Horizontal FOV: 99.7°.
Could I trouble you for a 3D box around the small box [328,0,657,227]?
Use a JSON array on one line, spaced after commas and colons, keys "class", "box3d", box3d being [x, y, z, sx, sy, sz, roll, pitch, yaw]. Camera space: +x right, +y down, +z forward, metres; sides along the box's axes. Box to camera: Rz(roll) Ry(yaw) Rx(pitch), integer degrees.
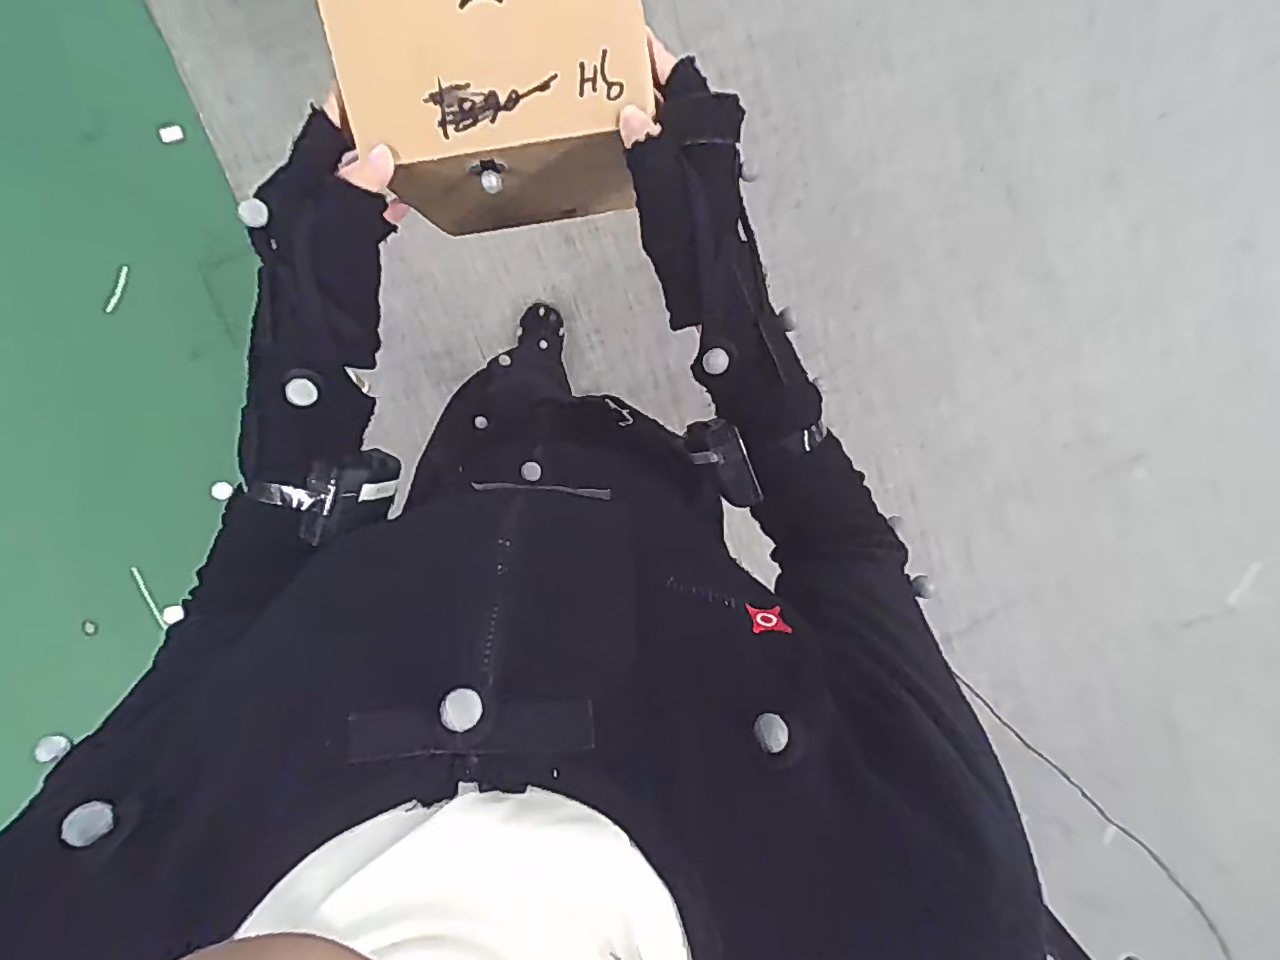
[{"class": "small box", "box3d": [-0.087, -0.288, 0.357, 0.168, 0.176, 0.179, -10, 104, 0]}]
